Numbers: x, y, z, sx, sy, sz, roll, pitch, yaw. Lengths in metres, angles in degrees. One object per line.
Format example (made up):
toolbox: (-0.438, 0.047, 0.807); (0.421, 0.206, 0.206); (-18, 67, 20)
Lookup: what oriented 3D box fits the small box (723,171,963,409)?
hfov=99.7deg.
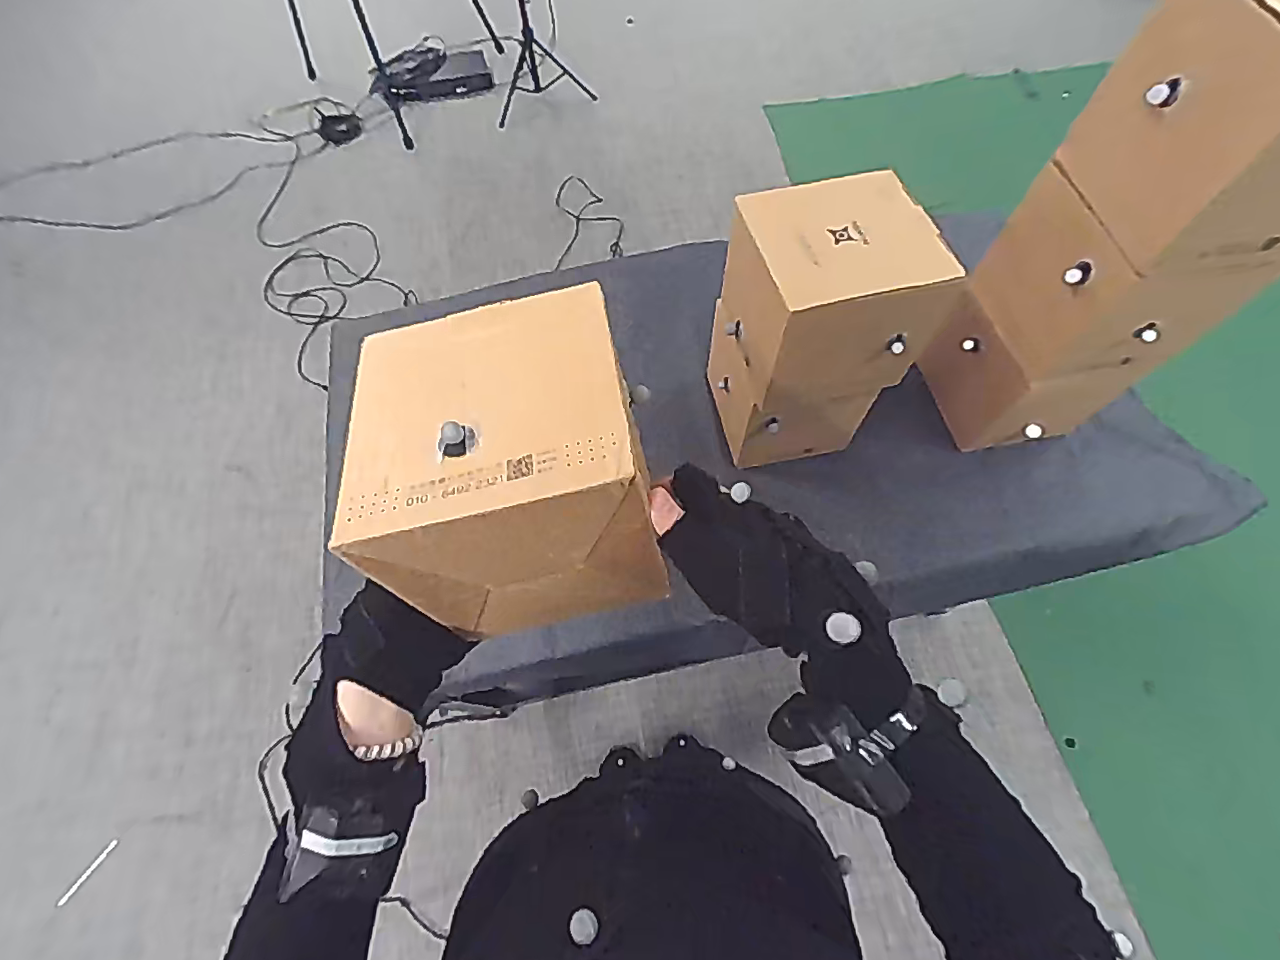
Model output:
small box: (0.204, -0.203, 0.604); (0.179, 0.176, 0.168); (-13, 63, -4)

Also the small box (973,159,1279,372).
small box: (0.523, -0.237, 0.608); (0.168, 0.176, 0.179); (-8, 64, -2)

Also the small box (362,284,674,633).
small box: (-0.075, -0.003, 0.393); (0.168, 0.179, 0.176); (-13, 55, 2)

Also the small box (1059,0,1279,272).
small box: (0.516, -0.308, 0.460); (0.168, 0.176, 0.179); (-7, 63, -1)
